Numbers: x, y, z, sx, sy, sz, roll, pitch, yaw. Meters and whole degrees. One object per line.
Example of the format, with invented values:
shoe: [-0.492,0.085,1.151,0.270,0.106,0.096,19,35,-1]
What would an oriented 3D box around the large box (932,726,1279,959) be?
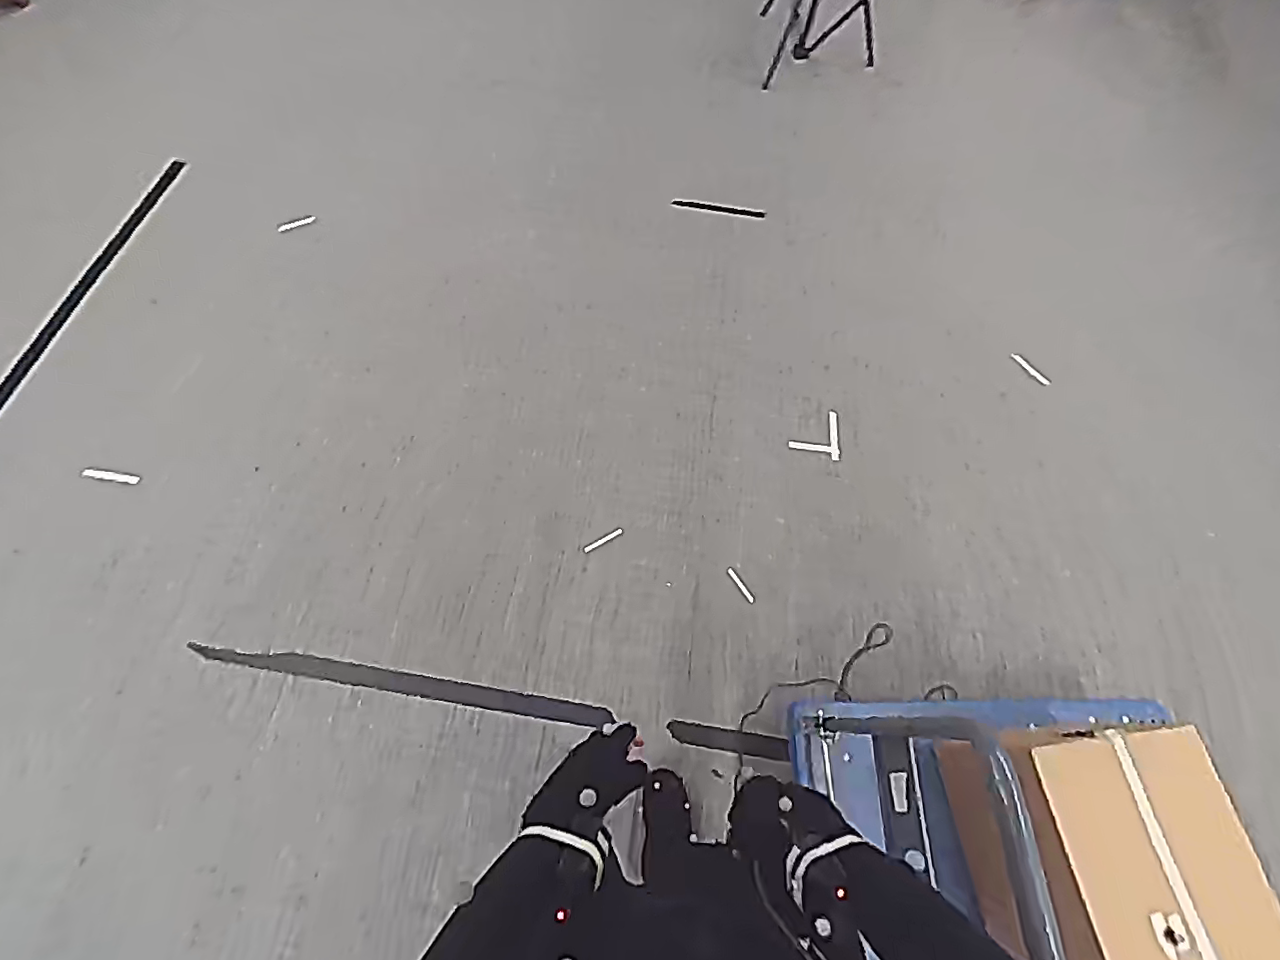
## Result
large box: [0.812,0.684,0.978,0.320,0.320,0.408,-5,67,-5]
